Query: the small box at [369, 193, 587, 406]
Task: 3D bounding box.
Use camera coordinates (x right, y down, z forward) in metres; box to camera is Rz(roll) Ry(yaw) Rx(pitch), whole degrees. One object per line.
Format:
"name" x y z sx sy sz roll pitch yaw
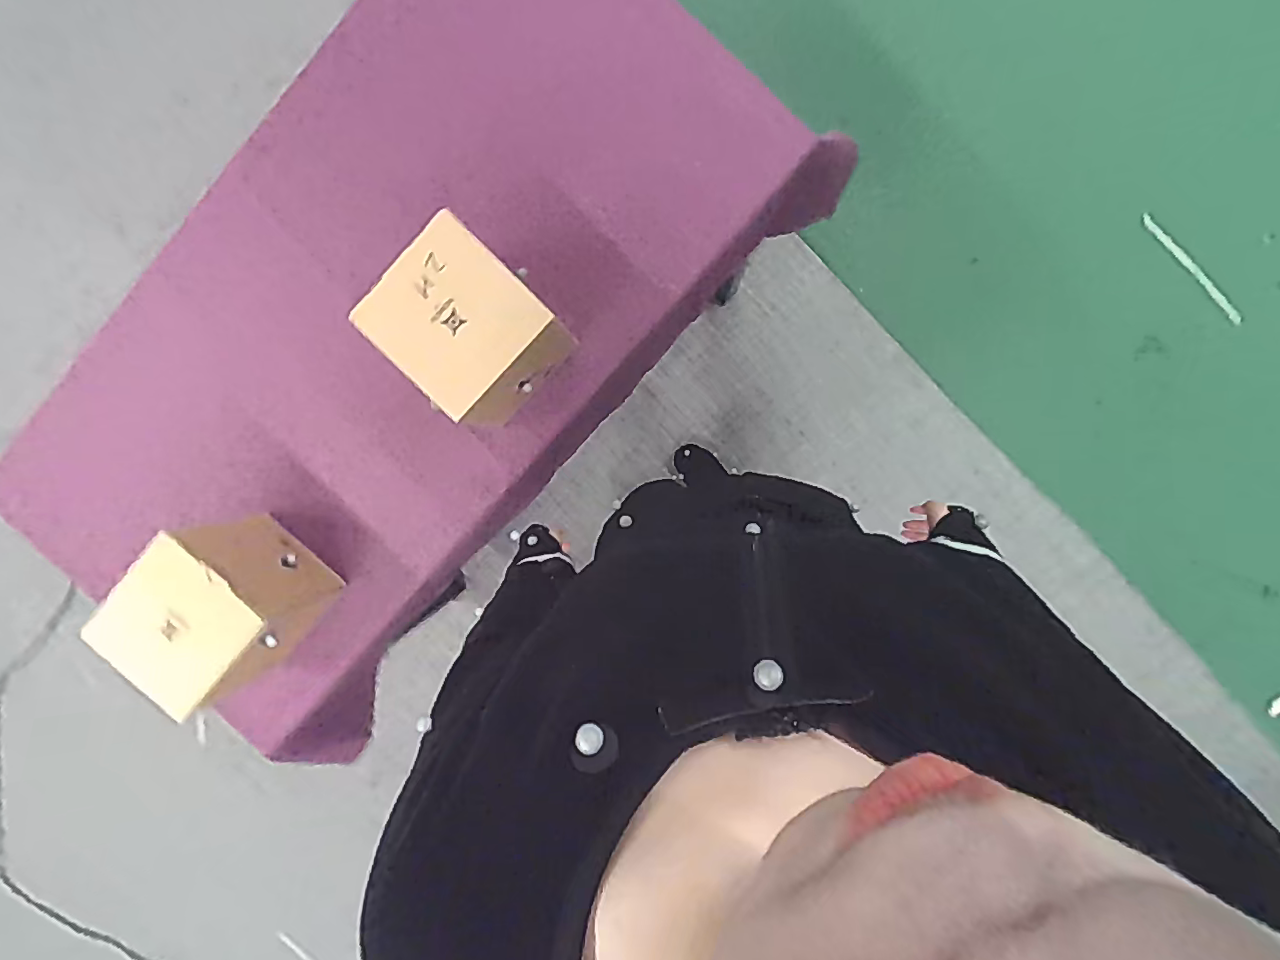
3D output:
"small box" -0.187 -0.208 0.684 0.168 0.176 0.179 -39 90 4
